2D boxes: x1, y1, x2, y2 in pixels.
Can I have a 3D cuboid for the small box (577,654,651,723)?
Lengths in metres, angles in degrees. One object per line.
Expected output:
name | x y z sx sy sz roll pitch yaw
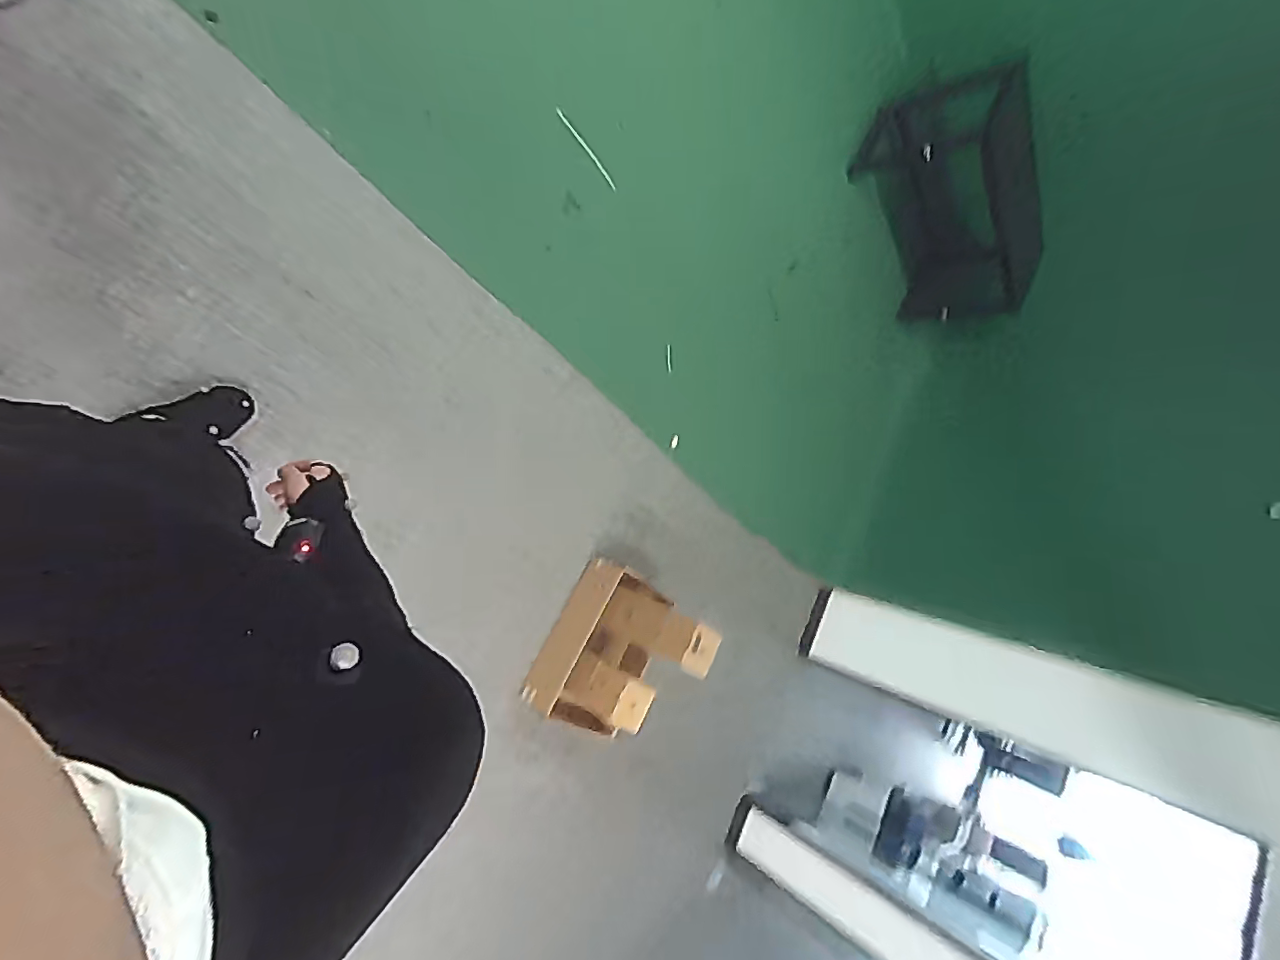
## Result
small box | -0.097 0.769 2.007 0.179 0.176 0.168 43 69 -40

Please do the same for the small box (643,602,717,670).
small box | 0.142 0.559 1.960 0.179 0.176 0.168 41 71 -42

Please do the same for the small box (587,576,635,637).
small box | -0.080 0.508 2.194 0.179 0.176 0.168 44 69 -42

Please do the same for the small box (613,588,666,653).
small box | 0.031 0.534 2.078 0.179 0.176 0.168 43 69 -41
